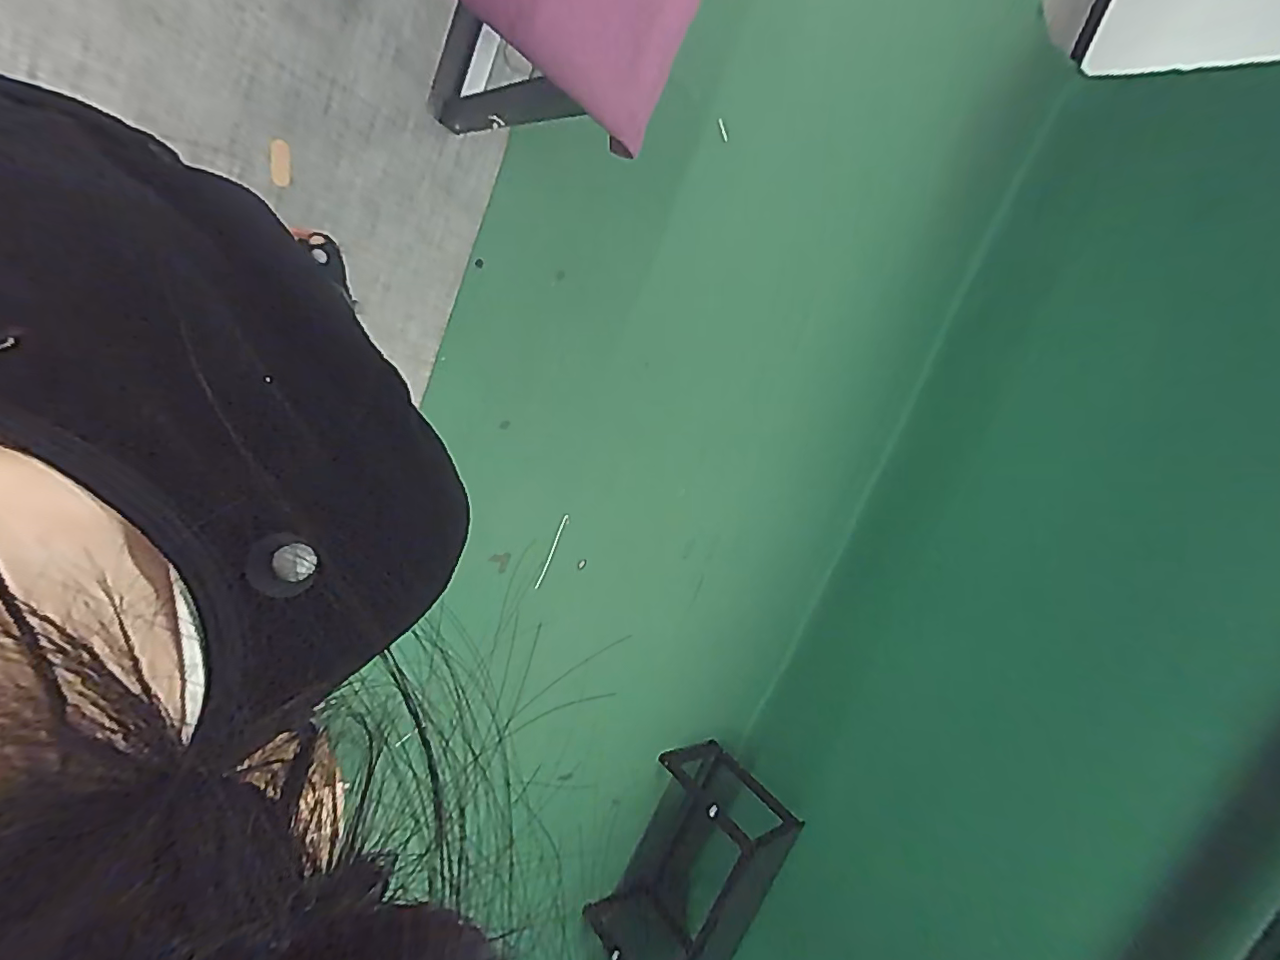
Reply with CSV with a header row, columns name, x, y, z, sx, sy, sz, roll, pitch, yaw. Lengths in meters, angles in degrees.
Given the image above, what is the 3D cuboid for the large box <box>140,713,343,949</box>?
name,x,y,z,sx,sy,sz,roll,pitch,yaw
large box,-1.085,0.926,1.489,0.408,0.320,0.320,-6,117,-43
